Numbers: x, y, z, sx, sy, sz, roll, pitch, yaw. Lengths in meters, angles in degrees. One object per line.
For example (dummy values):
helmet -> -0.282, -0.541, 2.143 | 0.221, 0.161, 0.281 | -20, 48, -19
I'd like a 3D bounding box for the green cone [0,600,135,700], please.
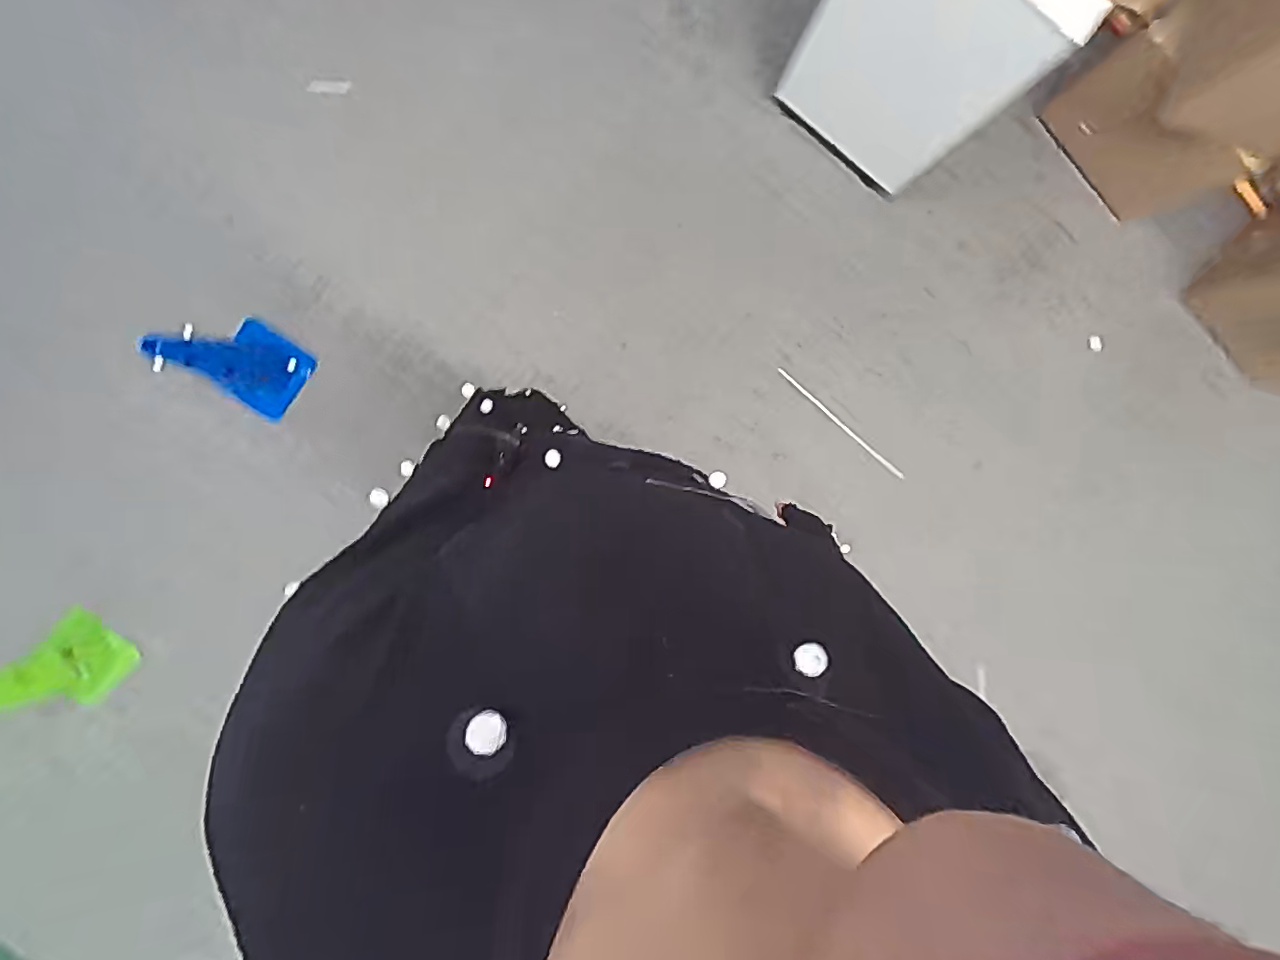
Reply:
green cone -> -1.404, 0.444, 1.203 | 0.200, 0.368, 0.202 | 43, 89, -6
